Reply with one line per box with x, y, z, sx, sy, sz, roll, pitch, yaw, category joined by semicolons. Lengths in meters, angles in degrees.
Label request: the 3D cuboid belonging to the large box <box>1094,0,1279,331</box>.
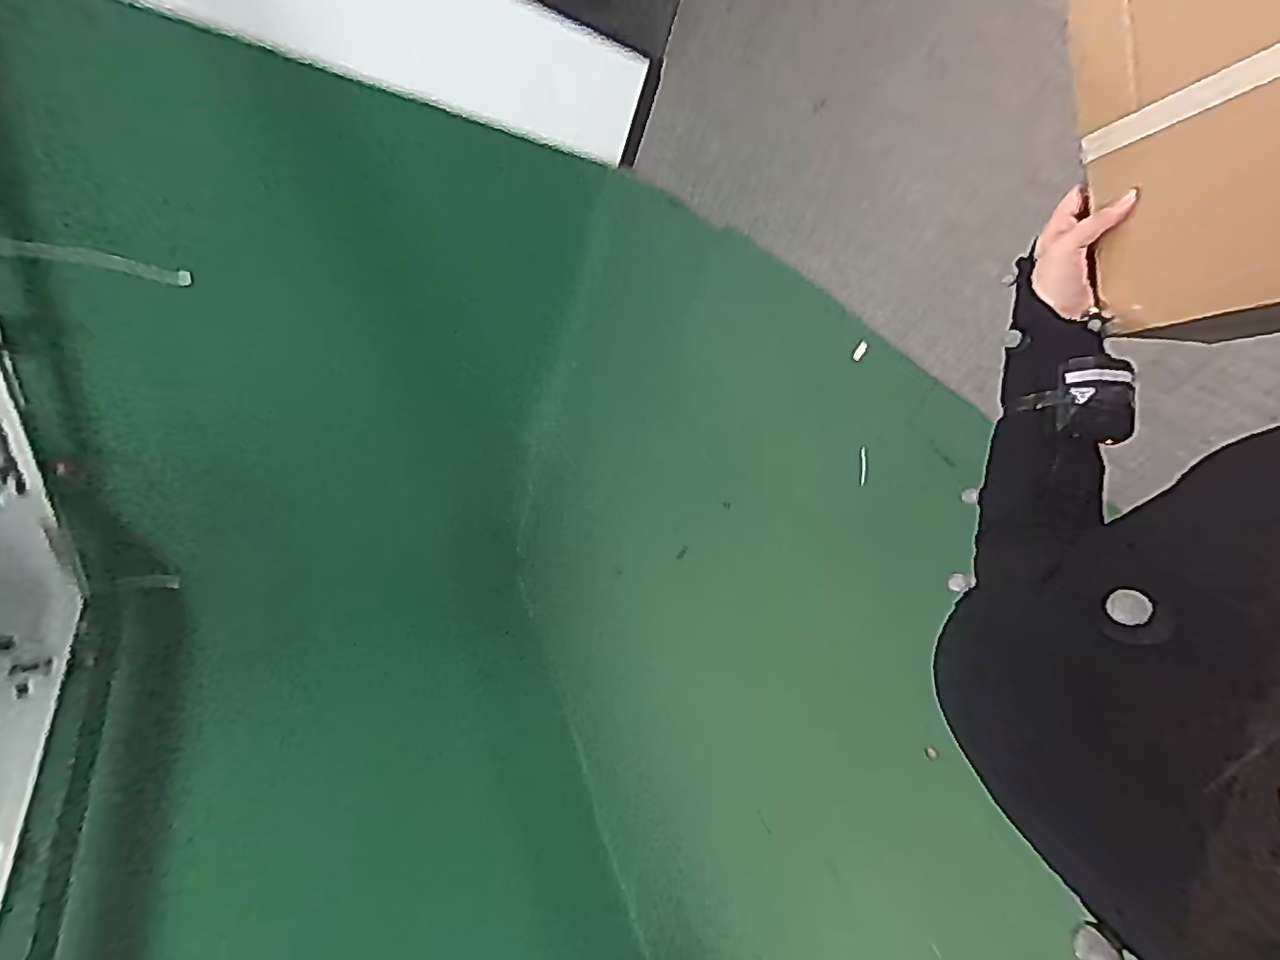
0.627;-0.306;0.362;0.408;0.320;0.320;-3;93;59;large box
